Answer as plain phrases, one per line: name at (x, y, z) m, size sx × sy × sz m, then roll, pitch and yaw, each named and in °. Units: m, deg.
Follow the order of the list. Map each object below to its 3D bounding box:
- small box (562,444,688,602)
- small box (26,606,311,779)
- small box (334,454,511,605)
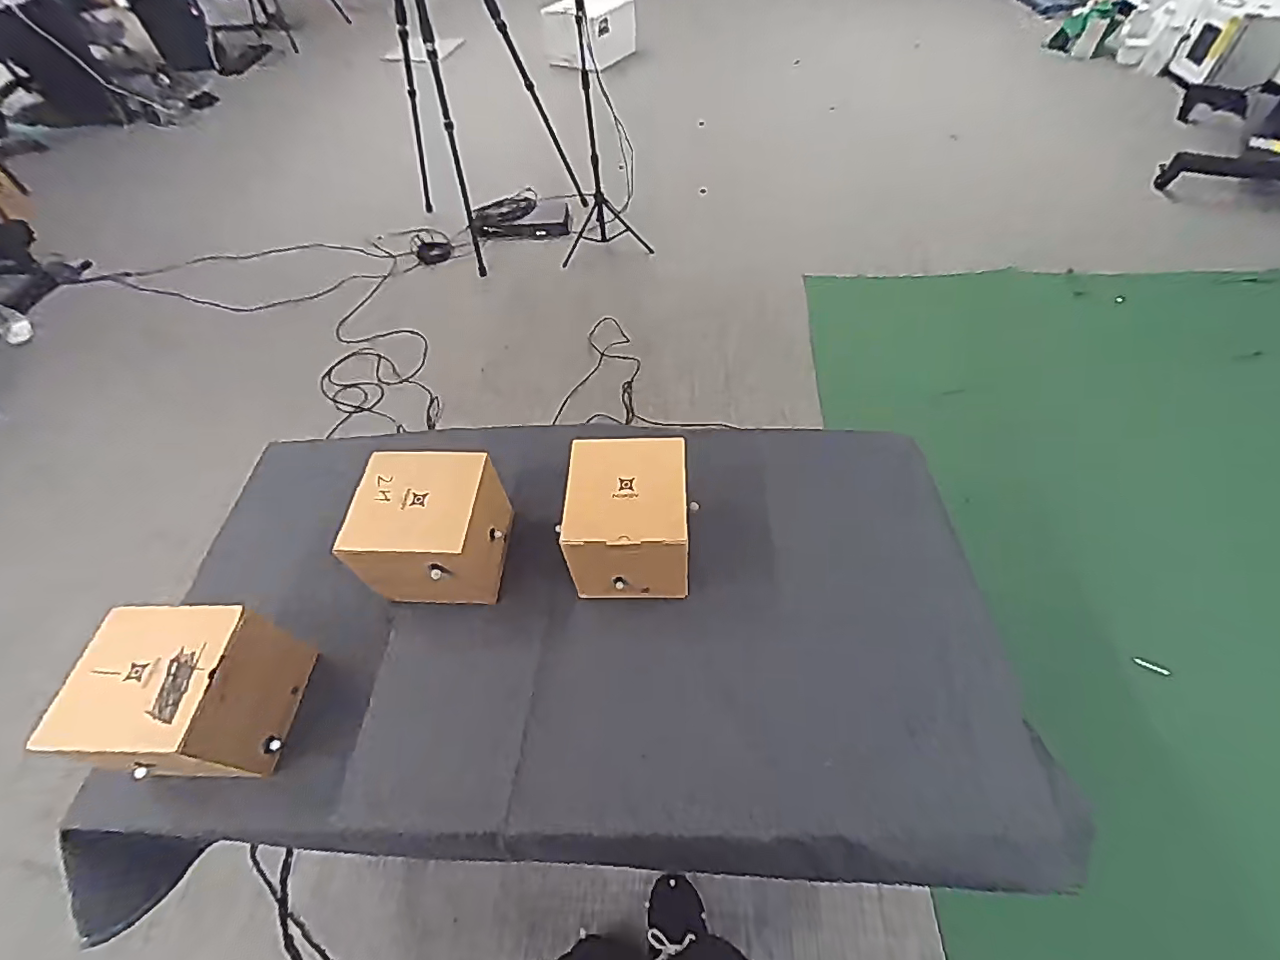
small box at (-0.015, 0.064, 0.804) m, size 0.168 × 0.176 × 0.179 m, roll -1°, pitch 54°, yaw 3°
small box at (-0.562, 0.270, 0.680) m, size 0.179 × 0.176 × 0.168 m, roll -1°, pitch 53°, yaw 3°
small box at (-0.304, 0.078, 0.806) m, size 0.179 × 0.176 × 0.168 m, roll 1°, pitch 54°, yaw 4°
